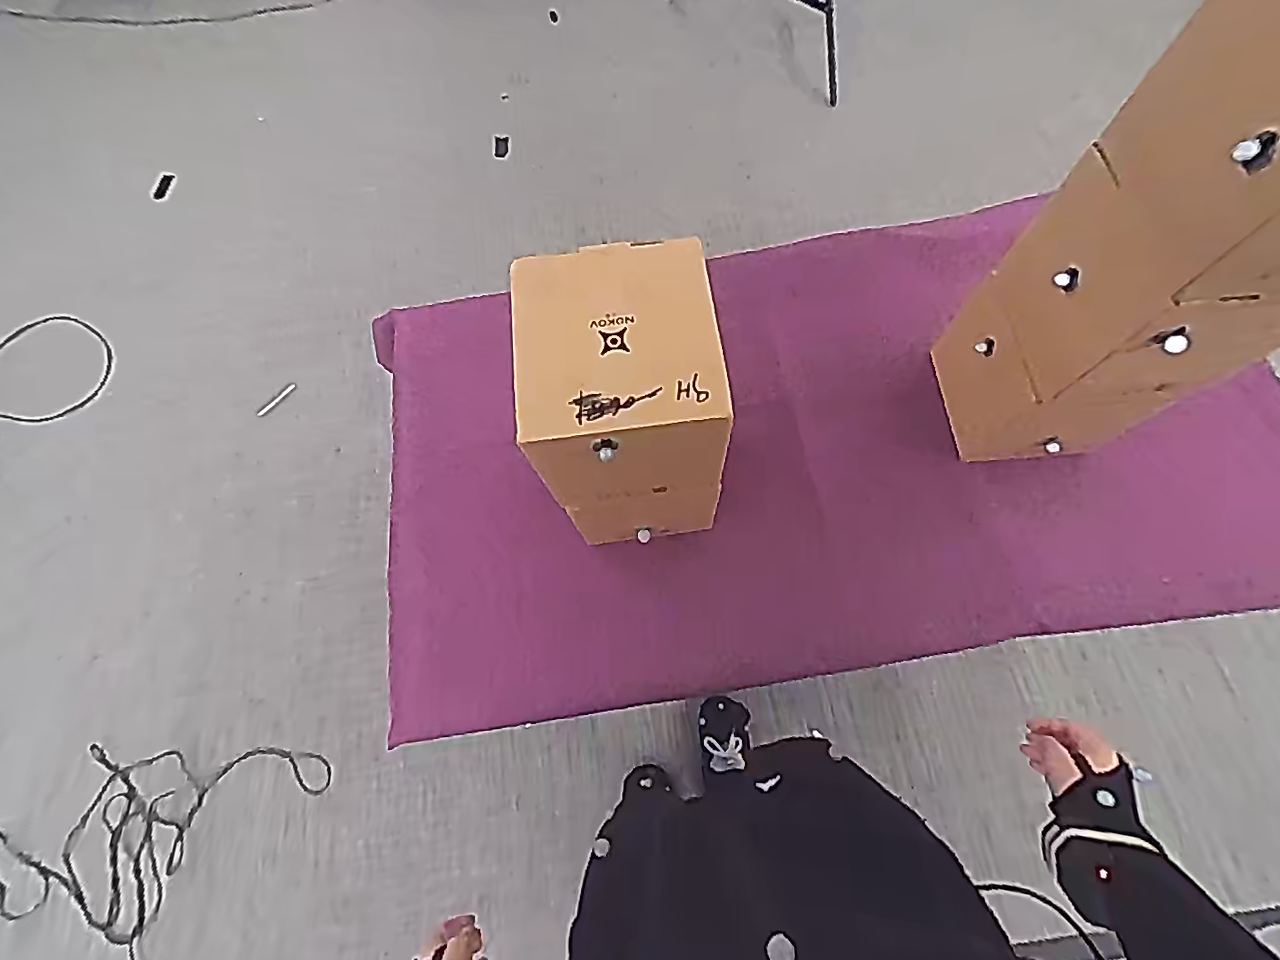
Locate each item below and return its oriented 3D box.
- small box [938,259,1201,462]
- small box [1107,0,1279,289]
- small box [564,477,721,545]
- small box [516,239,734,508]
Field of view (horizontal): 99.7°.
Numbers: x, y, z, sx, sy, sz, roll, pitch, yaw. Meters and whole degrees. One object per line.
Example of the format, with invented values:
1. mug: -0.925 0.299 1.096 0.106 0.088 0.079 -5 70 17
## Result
1. small box: 0.495 -0.137 0.661 0.168 0.176 0.179 -4 70 3
2. small box: 0.469 -0.243 0.353 0.168 0.176 0.179 -2 69 2
3. small box: -0.001 -0.032 0.658 0.168 0.176 0.179 -8 70 1
4. small box: -0.014 -0.088 0.504 0.168 0.176 0.179 -7 69 2
